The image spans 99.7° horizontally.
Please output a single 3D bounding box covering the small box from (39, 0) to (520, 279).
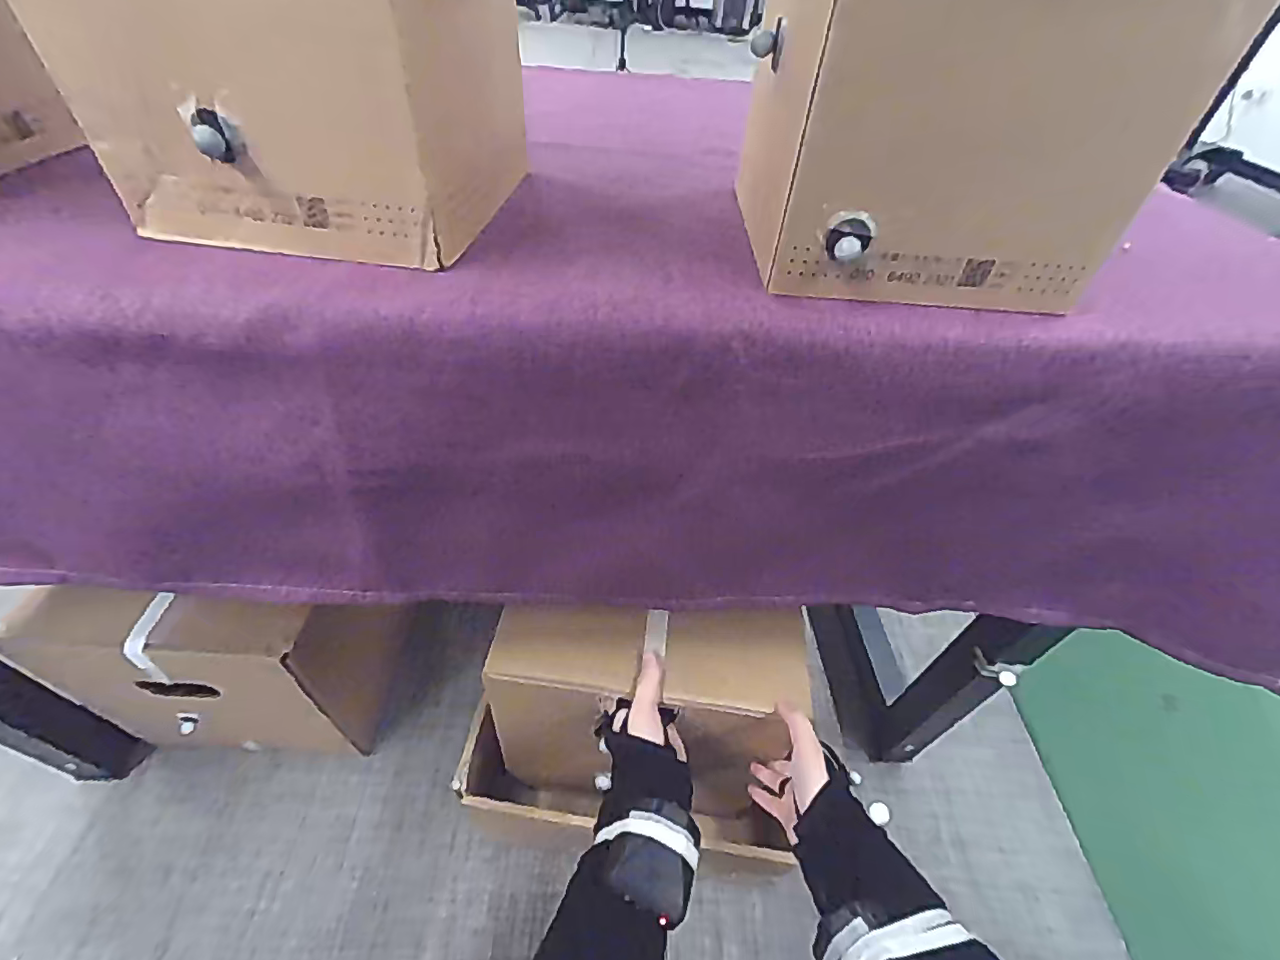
[{"bbox_3d":[-0.167,-0.232,0.288,0.168,0.176,0.179,7,47,2],"label":"small box"}]

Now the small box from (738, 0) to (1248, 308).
[{"bbox_3d":[0.153,-0.208,0.288,0.168,0.176,0.179,3,45,-1],"label":"small box"}]
